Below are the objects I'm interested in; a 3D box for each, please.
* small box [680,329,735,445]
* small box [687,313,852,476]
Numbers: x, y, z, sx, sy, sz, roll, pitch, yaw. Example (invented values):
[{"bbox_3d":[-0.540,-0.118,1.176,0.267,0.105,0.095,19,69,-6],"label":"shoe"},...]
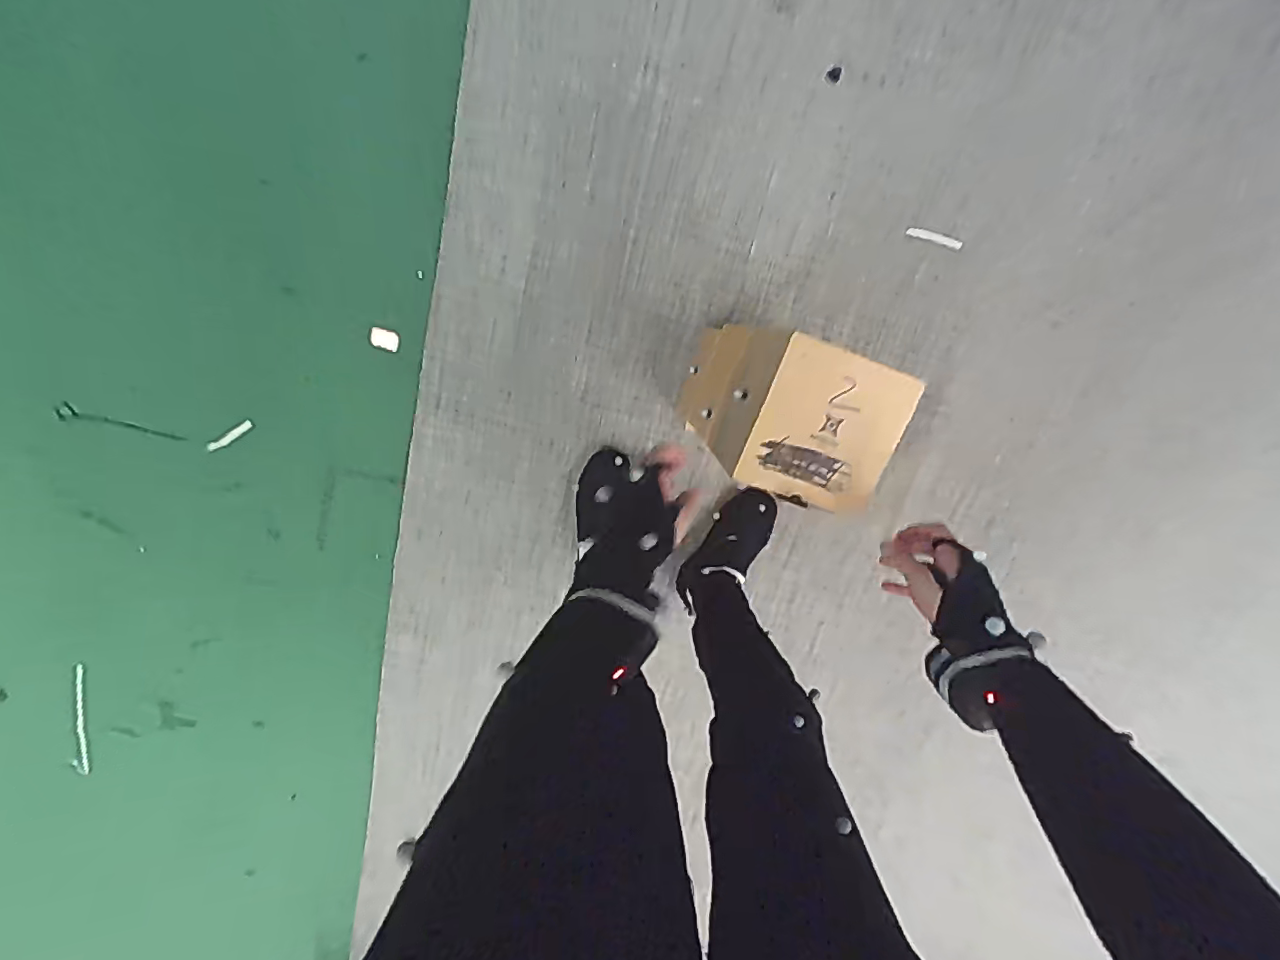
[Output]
[{"bbox_3d":[0.179,-0.166,0.995,0.168,0.176,0.179,18,106,-8],"label":"small box"},{"bbox_3d":[0.188,-0.138,0.843,0.168,0.176,0.179,-37,105,11],"label":"small box"}]
